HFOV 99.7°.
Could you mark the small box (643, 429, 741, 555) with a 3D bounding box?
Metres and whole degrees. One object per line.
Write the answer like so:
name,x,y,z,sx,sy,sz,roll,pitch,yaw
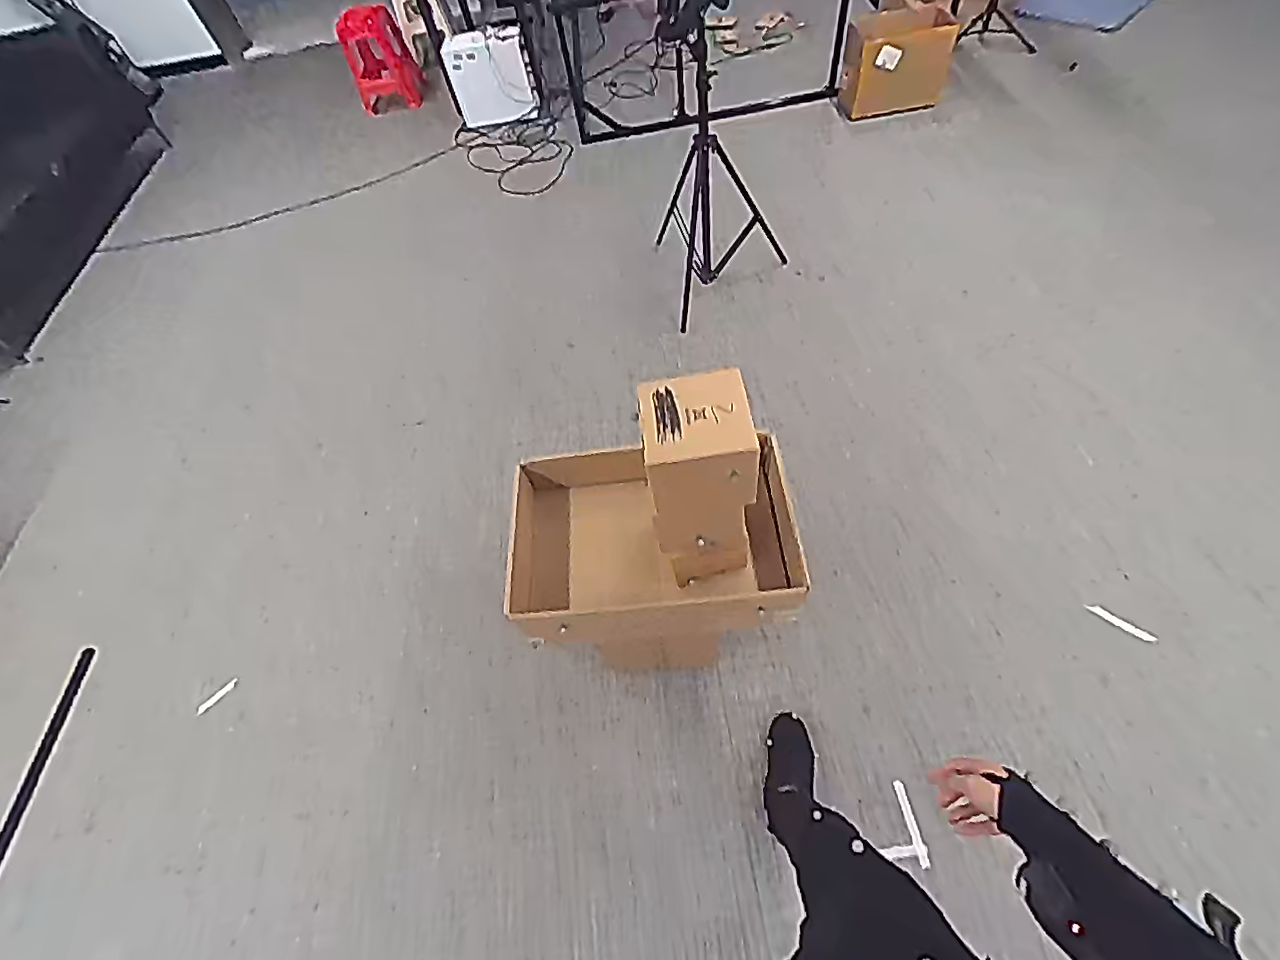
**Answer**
small box,0.101,0.027,1.059,0.168,0.176,0.179,-9,58,5
